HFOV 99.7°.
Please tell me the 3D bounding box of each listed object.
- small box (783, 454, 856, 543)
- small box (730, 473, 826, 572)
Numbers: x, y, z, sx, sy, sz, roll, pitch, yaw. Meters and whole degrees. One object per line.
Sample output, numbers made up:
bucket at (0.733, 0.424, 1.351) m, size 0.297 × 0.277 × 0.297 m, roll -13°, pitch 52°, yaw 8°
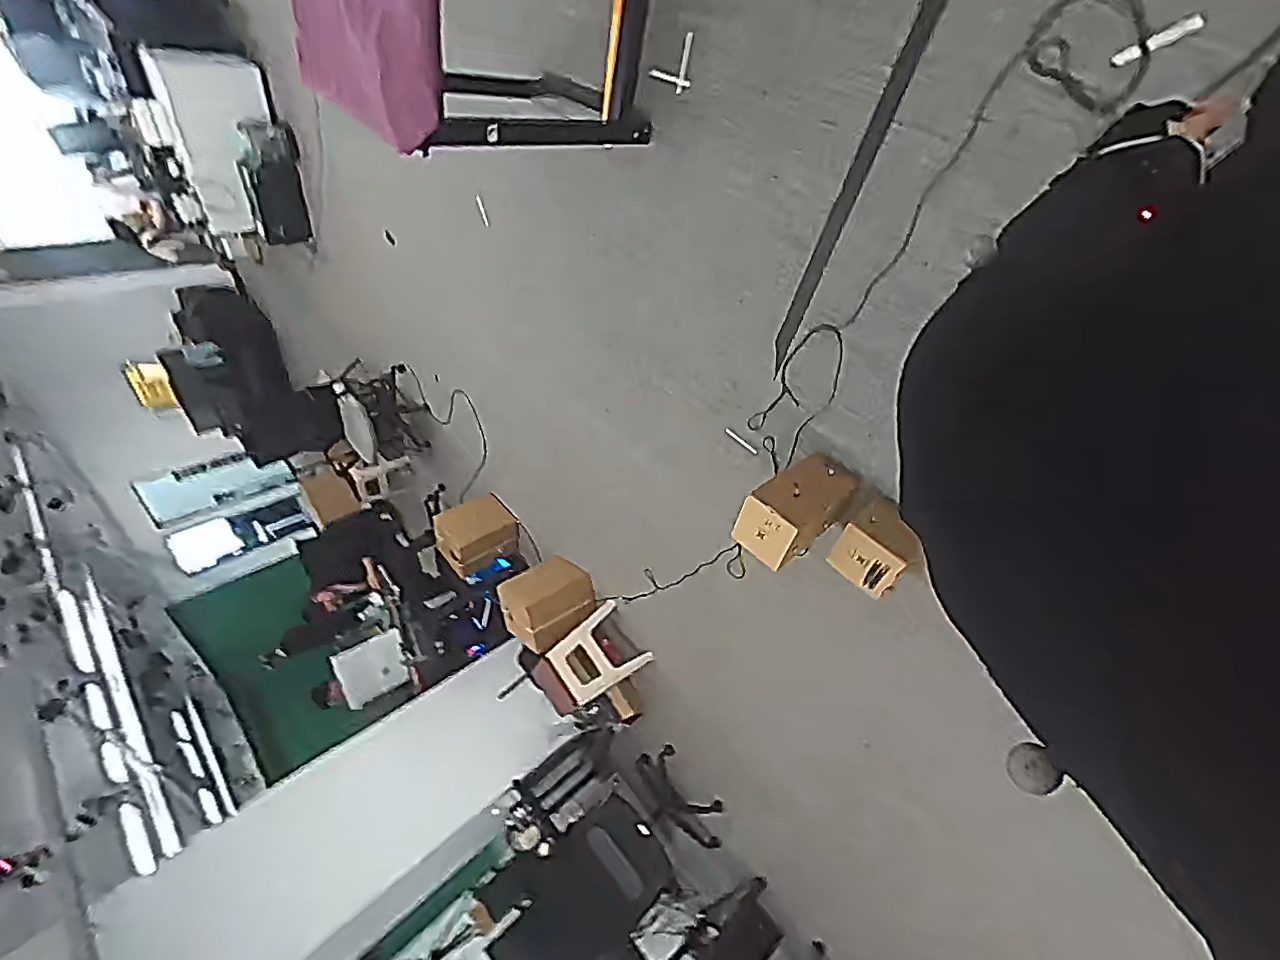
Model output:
small box at (0.500, 0.054, 1.587) m, size 0.168 × 0.176 × 0.179 m, roll 41°, pitch 137°, yaw 26°
small box at (0.382, 0.113, 1.488) m, size 0.168 × 0.176 × 0.179 m, roll 40°, pitch 137°, yaw 27°
